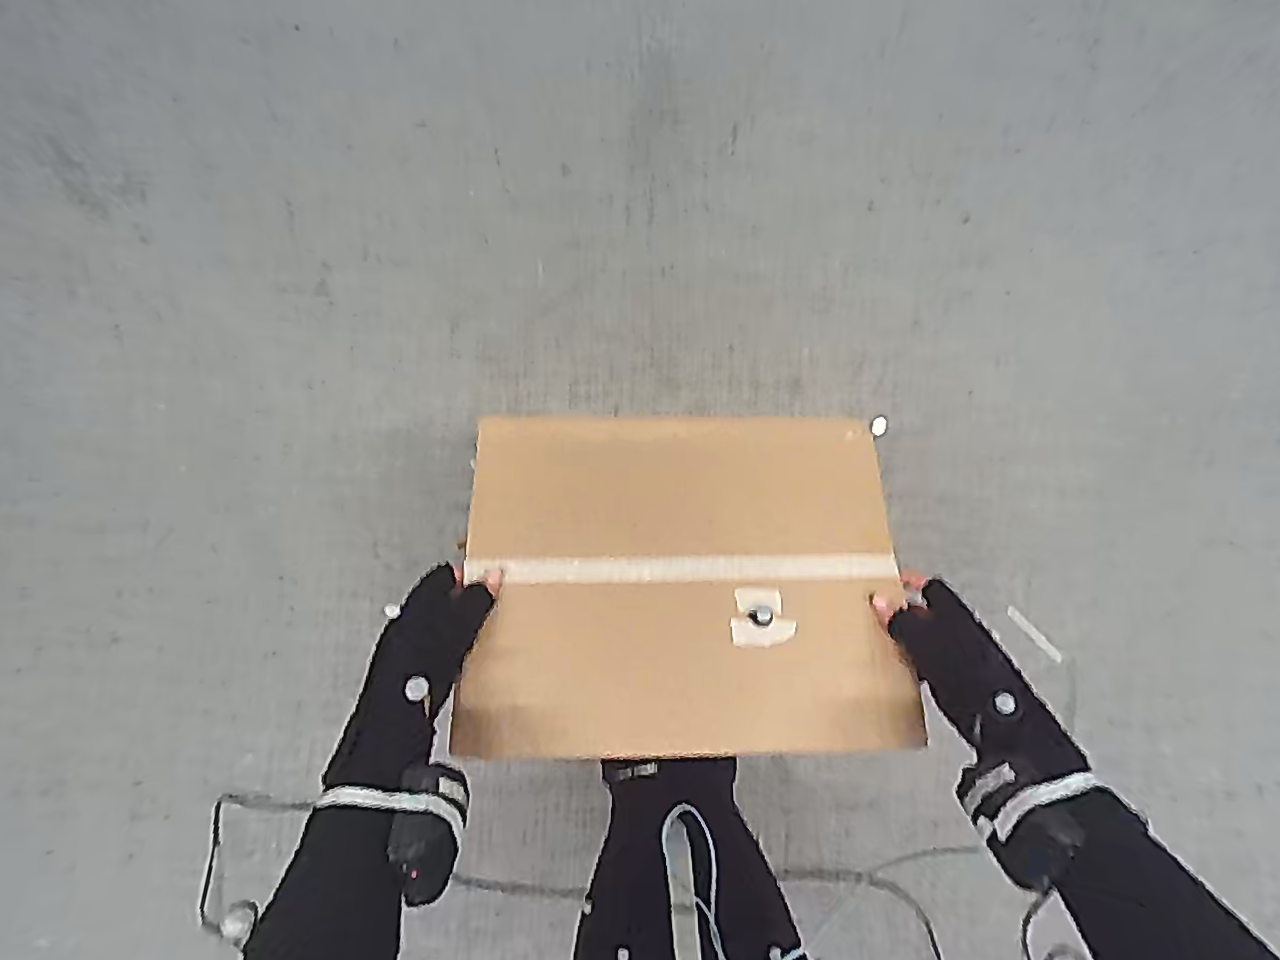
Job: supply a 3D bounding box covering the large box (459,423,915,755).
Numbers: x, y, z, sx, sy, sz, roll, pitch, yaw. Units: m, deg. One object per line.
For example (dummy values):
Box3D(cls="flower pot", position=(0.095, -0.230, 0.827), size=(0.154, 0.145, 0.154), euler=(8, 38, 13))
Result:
Box3D(cls="large box", position=(0.032, 0.137, 0.652), size=(0.408, 0.320, 0.320), euler=(0, 70, -3))
